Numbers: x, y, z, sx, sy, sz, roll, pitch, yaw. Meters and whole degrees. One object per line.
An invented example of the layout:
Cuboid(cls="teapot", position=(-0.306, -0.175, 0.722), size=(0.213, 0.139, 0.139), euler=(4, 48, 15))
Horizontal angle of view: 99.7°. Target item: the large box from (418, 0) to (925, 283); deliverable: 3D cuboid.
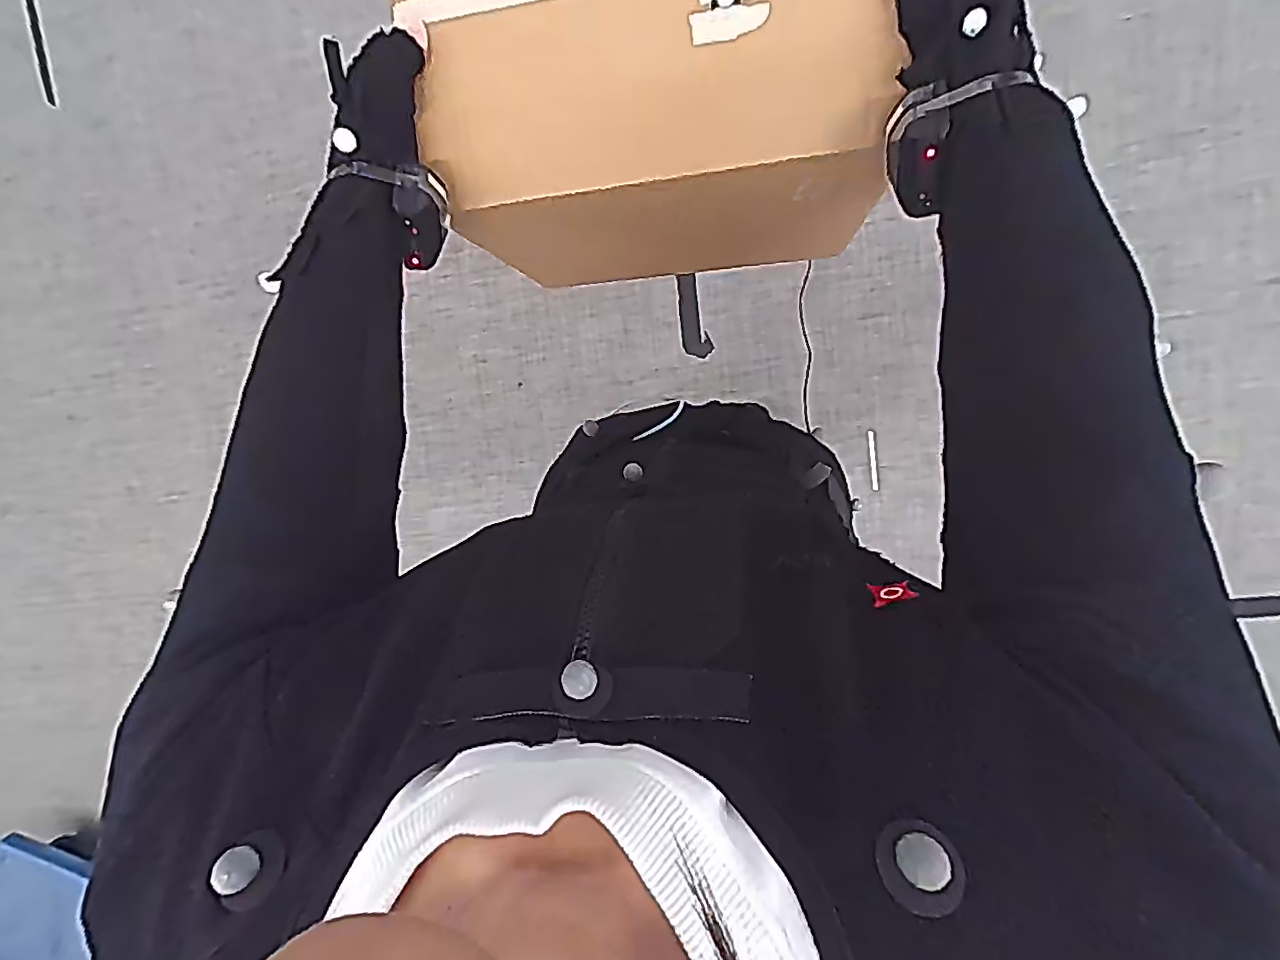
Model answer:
Cuboid(cls="large box", position=(0.029, -0.422, 0.570), size=(0.408, 0.320, 0.320), euler=(-3, 98, 10))
